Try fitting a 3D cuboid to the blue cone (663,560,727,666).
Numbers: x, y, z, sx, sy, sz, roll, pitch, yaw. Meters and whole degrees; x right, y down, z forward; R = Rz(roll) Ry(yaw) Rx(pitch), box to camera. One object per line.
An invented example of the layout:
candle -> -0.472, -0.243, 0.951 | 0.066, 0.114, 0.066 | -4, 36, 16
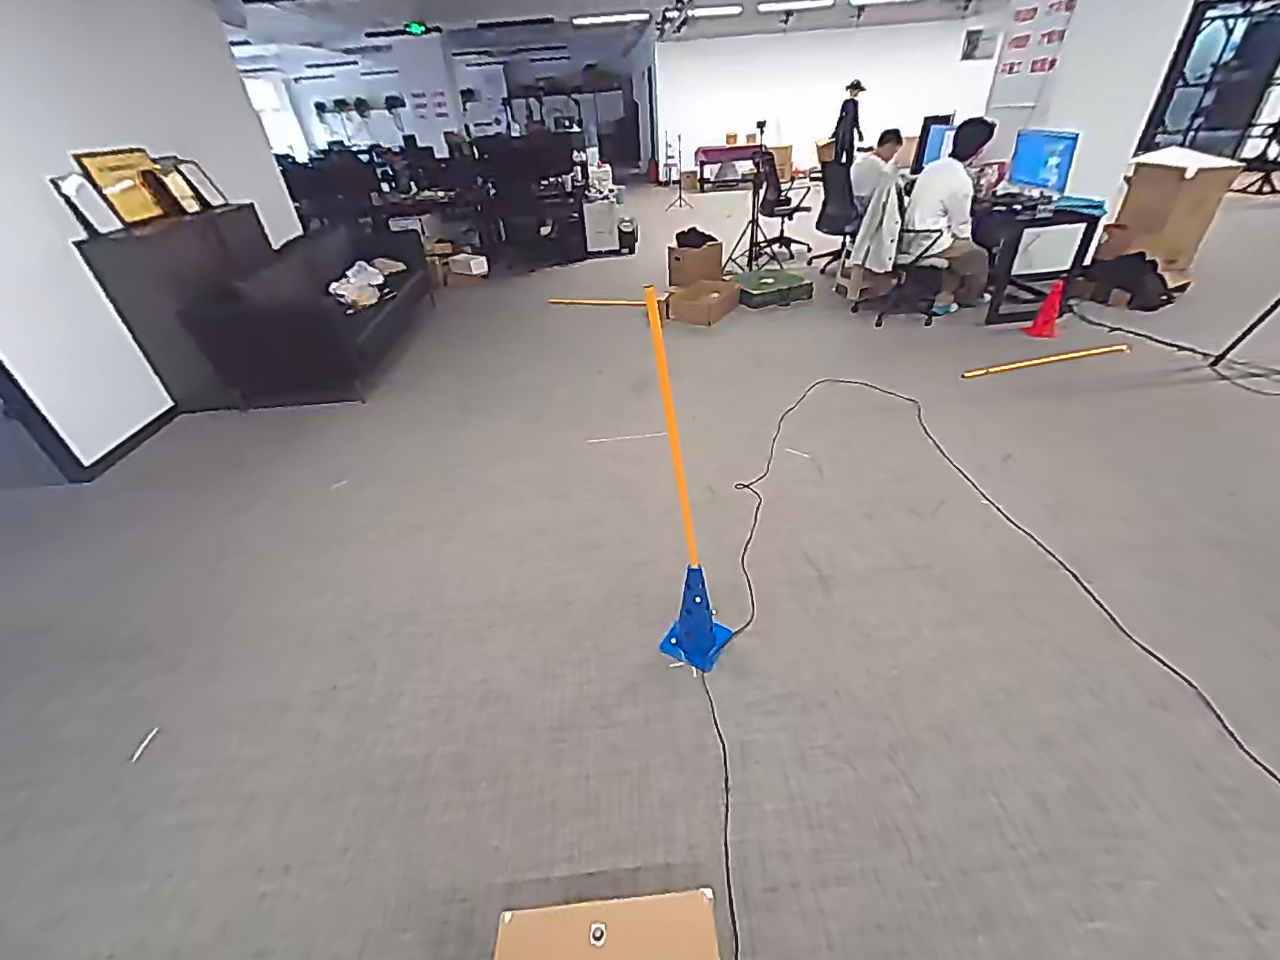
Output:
blue cone -> 0.178, 0.414, 1.769 | 0.192, 0.380, 0.193 | 14, 40, 26
